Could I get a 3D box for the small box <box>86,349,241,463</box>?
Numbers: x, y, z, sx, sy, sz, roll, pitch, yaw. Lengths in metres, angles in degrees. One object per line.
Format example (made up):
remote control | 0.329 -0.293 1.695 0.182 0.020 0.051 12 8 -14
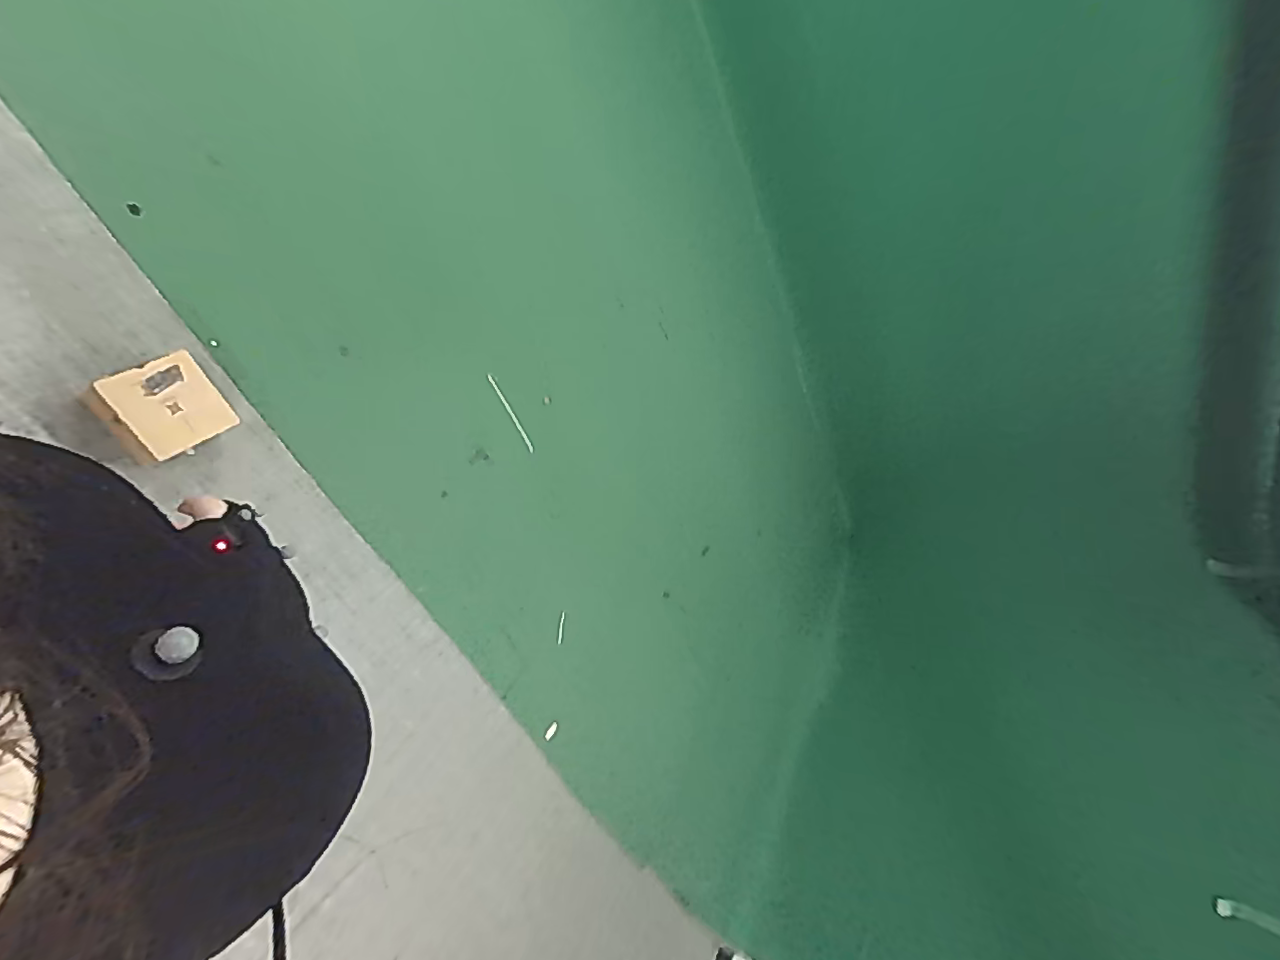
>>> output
small box | -0.989 -0.148 1.122 0.168 0.176 0.179 -46 123 -41
